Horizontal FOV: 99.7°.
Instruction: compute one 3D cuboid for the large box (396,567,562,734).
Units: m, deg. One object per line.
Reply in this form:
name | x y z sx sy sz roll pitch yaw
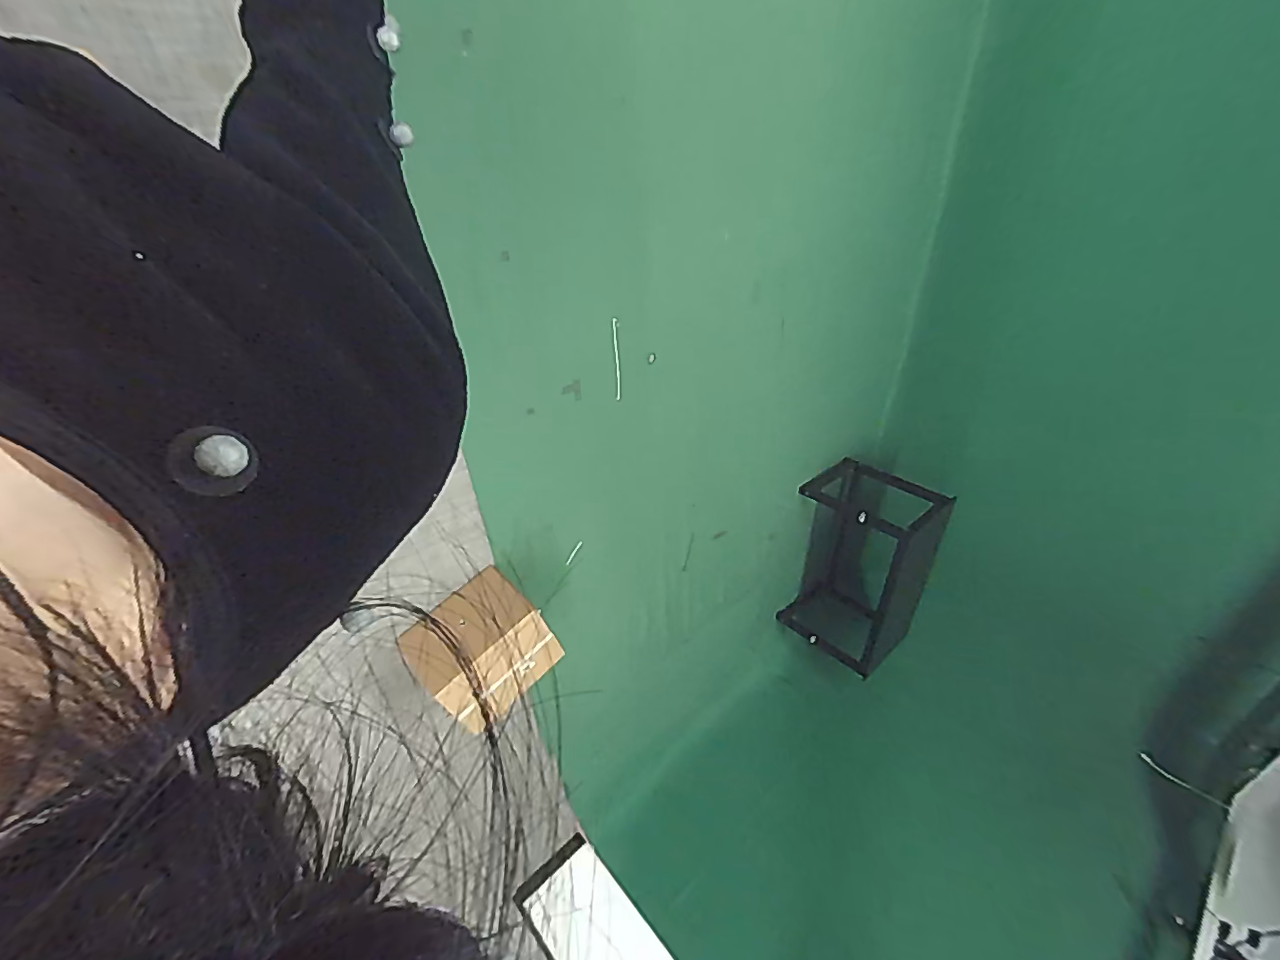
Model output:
large box | -0.563 0.593 1.918 0.408 0.320 0.320 -41 138 -23
